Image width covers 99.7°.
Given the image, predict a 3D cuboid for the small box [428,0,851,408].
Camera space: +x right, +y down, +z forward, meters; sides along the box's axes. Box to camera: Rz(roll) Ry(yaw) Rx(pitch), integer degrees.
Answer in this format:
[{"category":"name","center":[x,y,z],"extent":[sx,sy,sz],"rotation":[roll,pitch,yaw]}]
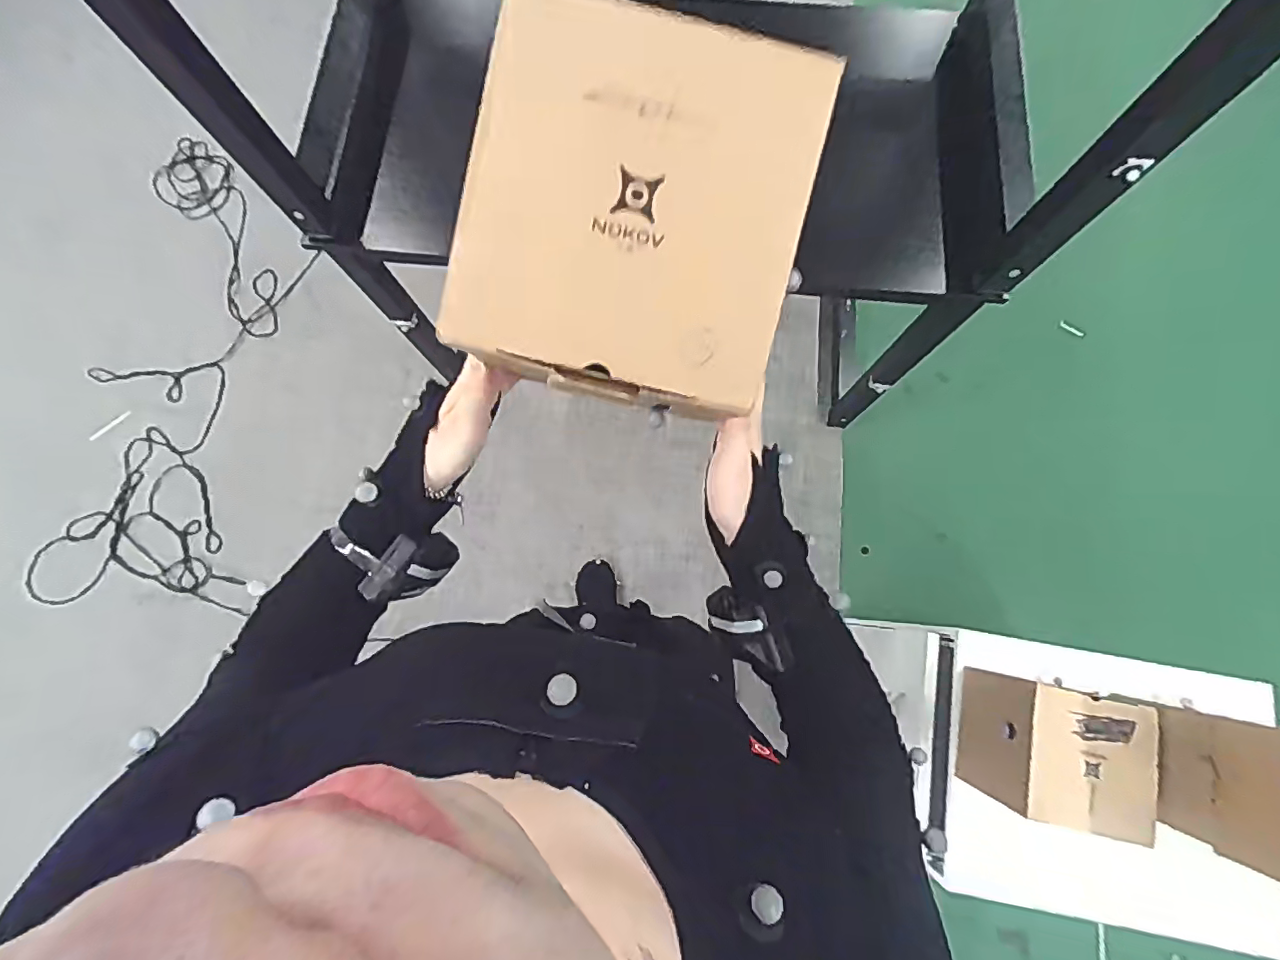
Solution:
[{"category":"small box","center":[-0.003,-0.145,0.327],"extent":[0.168,0.176,0.179],"rotation":[13,95,-3]}]

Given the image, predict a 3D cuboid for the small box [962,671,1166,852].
[{"category":"small box","center":[0.599,0.388,0.783],"extent":[0.168,0.176,0.179],"rotation":[12,79,3]}]

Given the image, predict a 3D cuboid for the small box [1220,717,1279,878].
[{"category":"small box","center":[0.827,0.390,0.614],"extent":[0.168,0.176,0.179],"rotation":[13,79,4]}]
